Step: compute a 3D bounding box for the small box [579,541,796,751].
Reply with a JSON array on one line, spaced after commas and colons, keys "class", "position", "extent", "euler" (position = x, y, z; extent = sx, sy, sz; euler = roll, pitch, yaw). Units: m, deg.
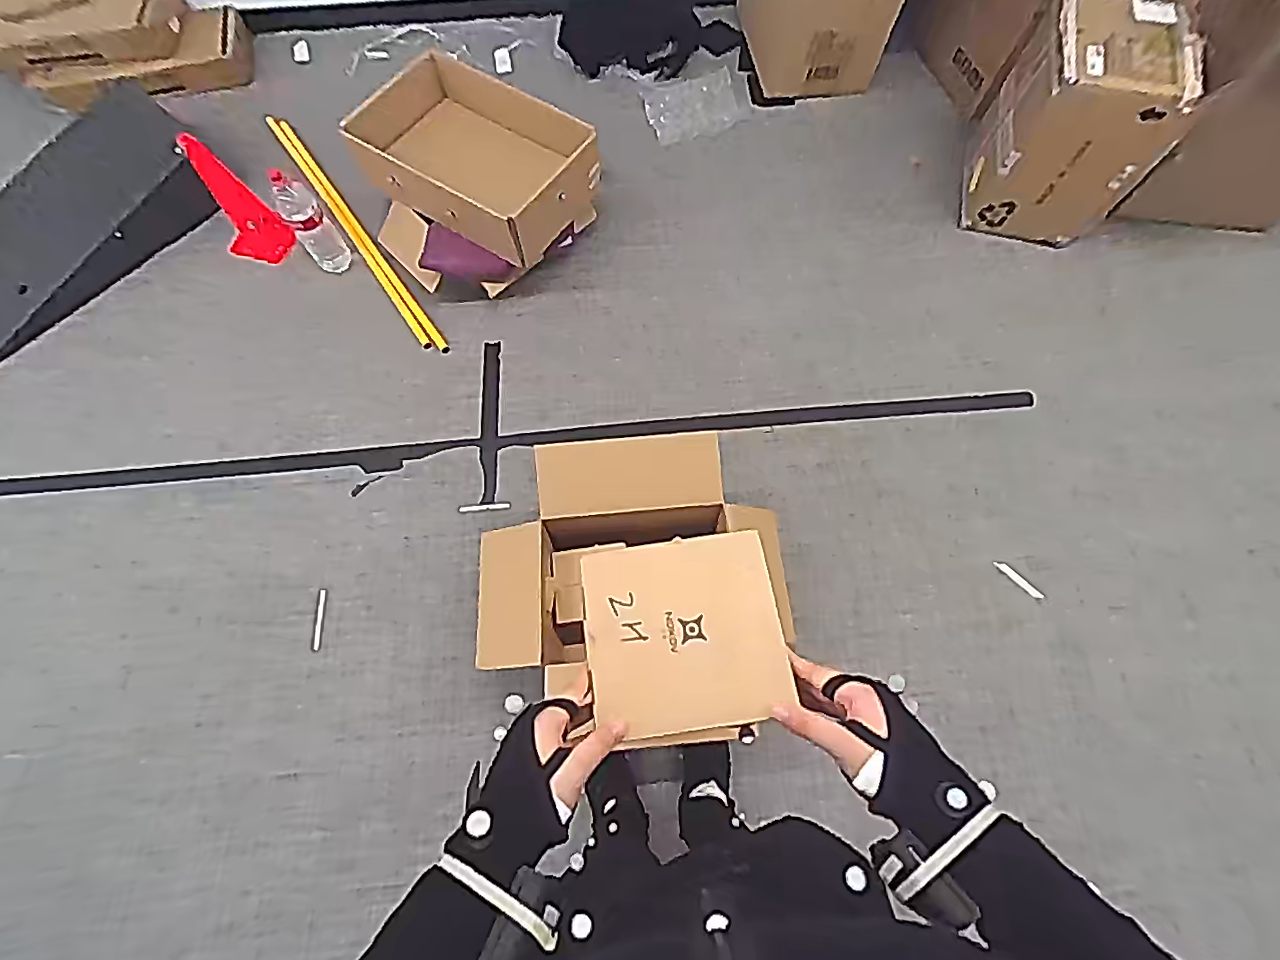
[{"class": "small box", "position": [0.040, 0.173, 0.555], "extent": [0.179, 0.176, 0.168], "euler": [-8, 65, 0]}]
